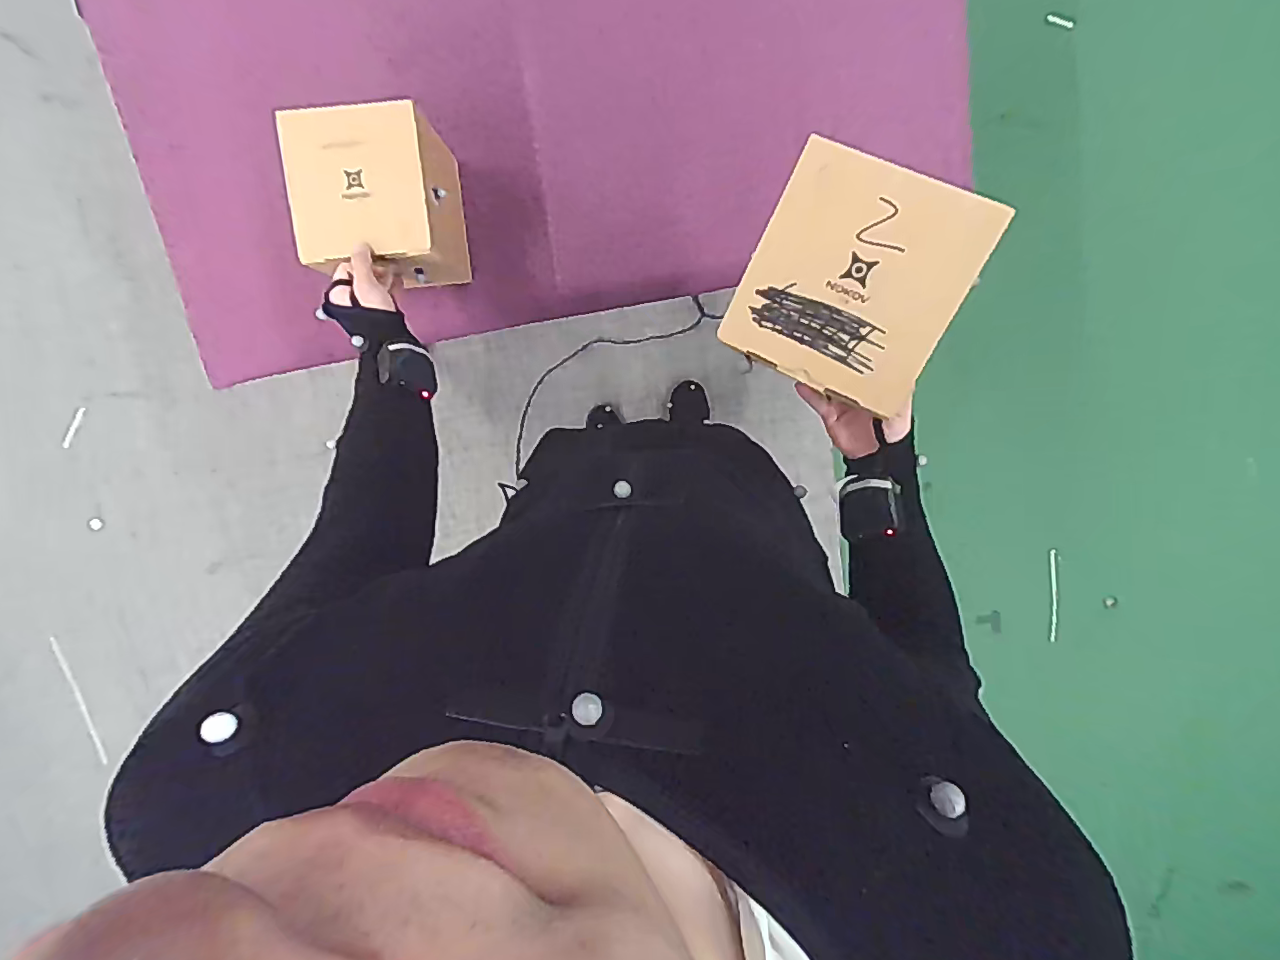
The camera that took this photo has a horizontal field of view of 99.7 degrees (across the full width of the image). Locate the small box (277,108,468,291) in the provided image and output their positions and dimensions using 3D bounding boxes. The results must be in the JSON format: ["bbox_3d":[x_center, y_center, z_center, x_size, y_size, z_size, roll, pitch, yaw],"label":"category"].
[{"bbox_3d":[-0.344,-0.361,0.732,0.168,0.176,0.179,-5,98,0],"label":"small box"}]
